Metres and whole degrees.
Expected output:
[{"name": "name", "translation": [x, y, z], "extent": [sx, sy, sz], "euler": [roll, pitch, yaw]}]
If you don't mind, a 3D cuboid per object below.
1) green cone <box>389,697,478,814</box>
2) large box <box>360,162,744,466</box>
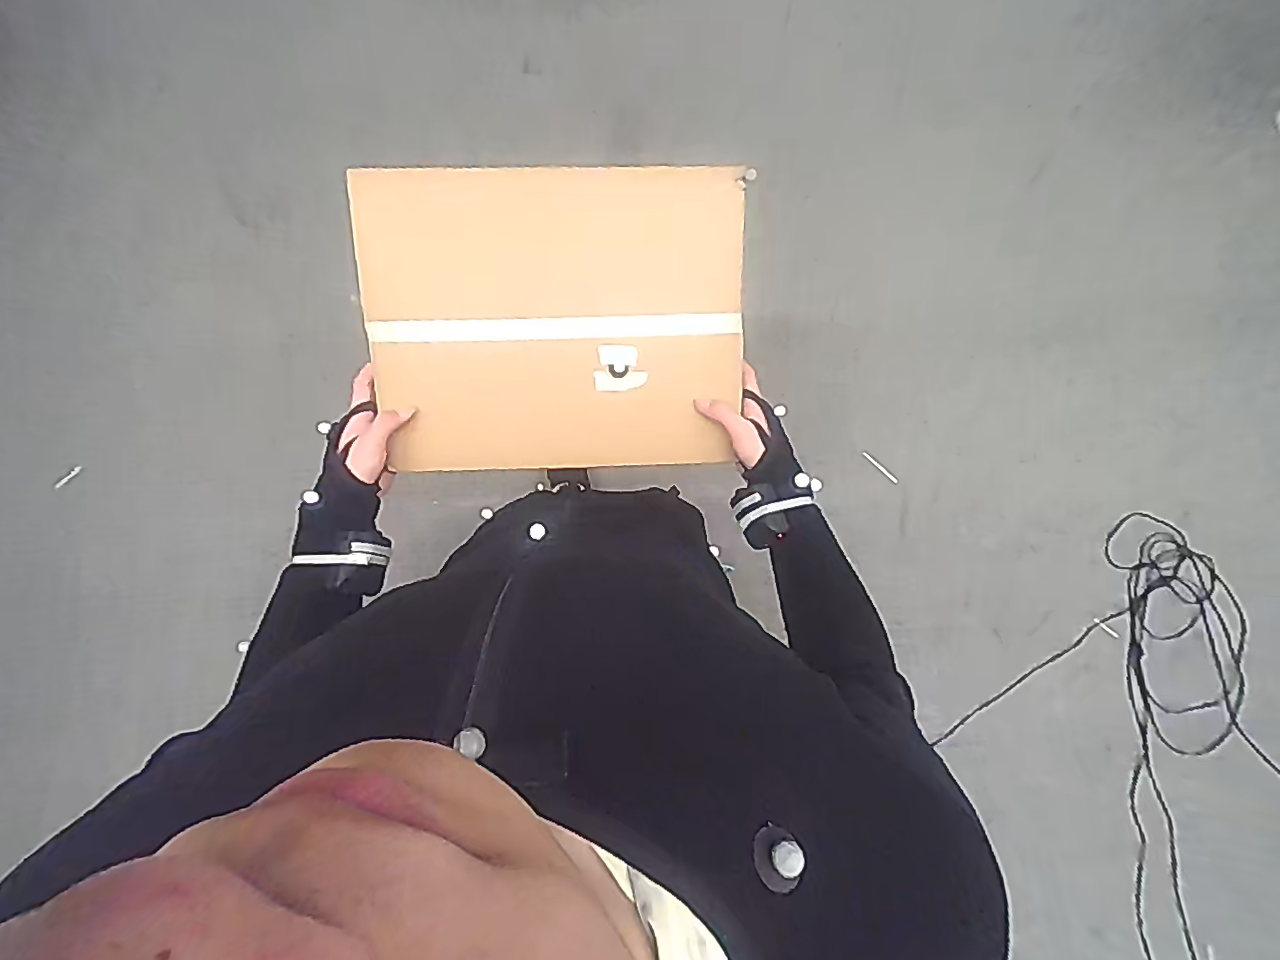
[{"name": "green cone", "translation": [-0.581, 0.755, 1.443], "extent": [0.200, 0.368, 0.202], "euler": [3, 91, -2]}, {"name": "large box", "translation": [-0.094, -0.210, 0.738], "extent": [0.408, 0.320, 0.320], "euler": [-2, 105, -3]}]
